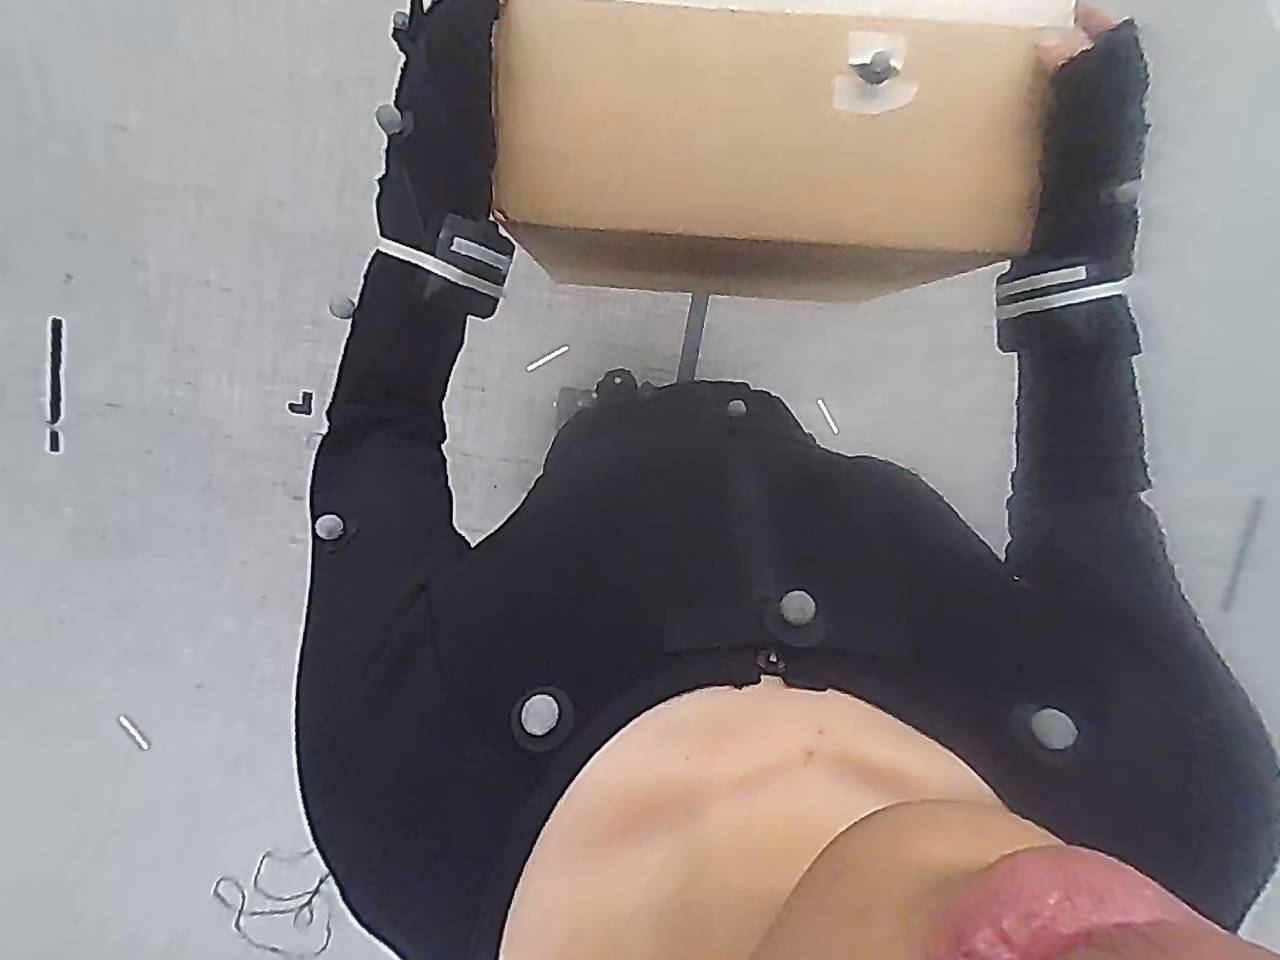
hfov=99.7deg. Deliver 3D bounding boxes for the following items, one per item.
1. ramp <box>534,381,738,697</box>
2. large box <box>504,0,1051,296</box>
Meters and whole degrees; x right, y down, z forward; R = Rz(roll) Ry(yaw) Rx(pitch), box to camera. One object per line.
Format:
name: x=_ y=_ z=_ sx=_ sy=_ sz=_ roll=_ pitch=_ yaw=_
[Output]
ramp: x=-0.038 y=0.226 z=1.621 sx=0.509 sy=0.206 sz=0.991 roll=6 pitch=100 yaw=-2
large box: x=0.095 y=-0.371 z=0.536 sx=0.408 sy=0.320 sz=0.320 roll=3 pitch=102 yaw=-2
